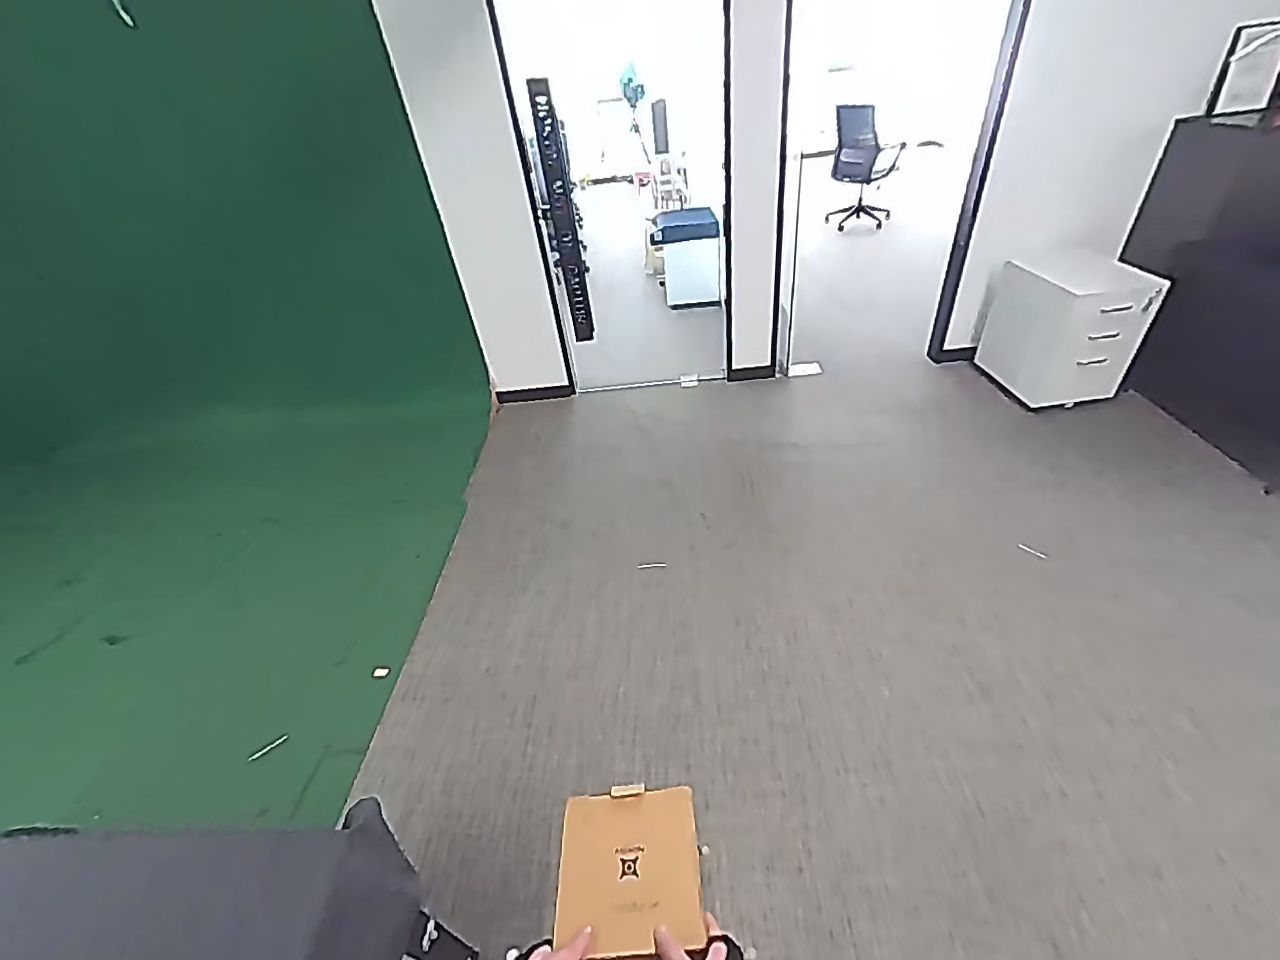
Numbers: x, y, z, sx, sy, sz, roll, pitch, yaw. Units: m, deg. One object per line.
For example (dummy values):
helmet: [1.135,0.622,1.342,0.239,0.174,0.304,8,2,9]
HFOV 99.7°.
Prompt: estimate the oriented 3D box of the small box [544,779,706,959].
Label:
small box: [-0.009,0.503,0.664,0.168,0.176,0.179,-6,29,4]
